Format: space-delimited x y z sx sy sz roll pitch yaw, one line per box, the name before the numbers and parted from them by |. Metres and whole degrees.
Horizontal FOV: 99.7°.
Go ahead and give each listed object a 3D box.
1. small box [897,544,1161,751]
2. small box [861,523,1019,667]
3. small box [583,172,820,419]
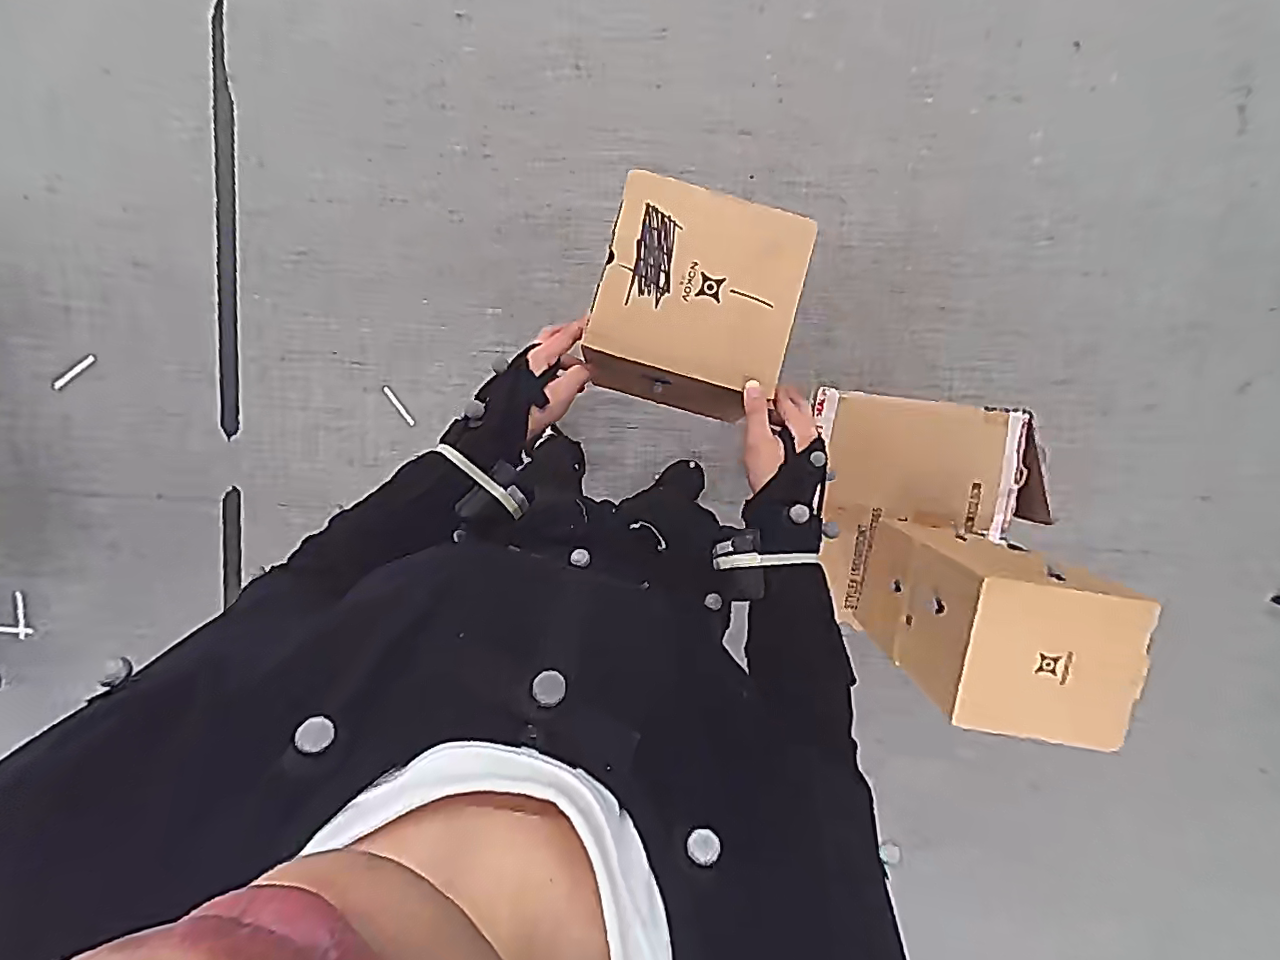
small box | 0.428 0.179 0.630 0.179 0.176 0.168 8 97 3
small box | 0.445 0.171 0.792 0.168 0.176 0.179 11 98 3
small box | 0.052 -0.168 0.551 0.179 0.176 0.168 15 88 -2
